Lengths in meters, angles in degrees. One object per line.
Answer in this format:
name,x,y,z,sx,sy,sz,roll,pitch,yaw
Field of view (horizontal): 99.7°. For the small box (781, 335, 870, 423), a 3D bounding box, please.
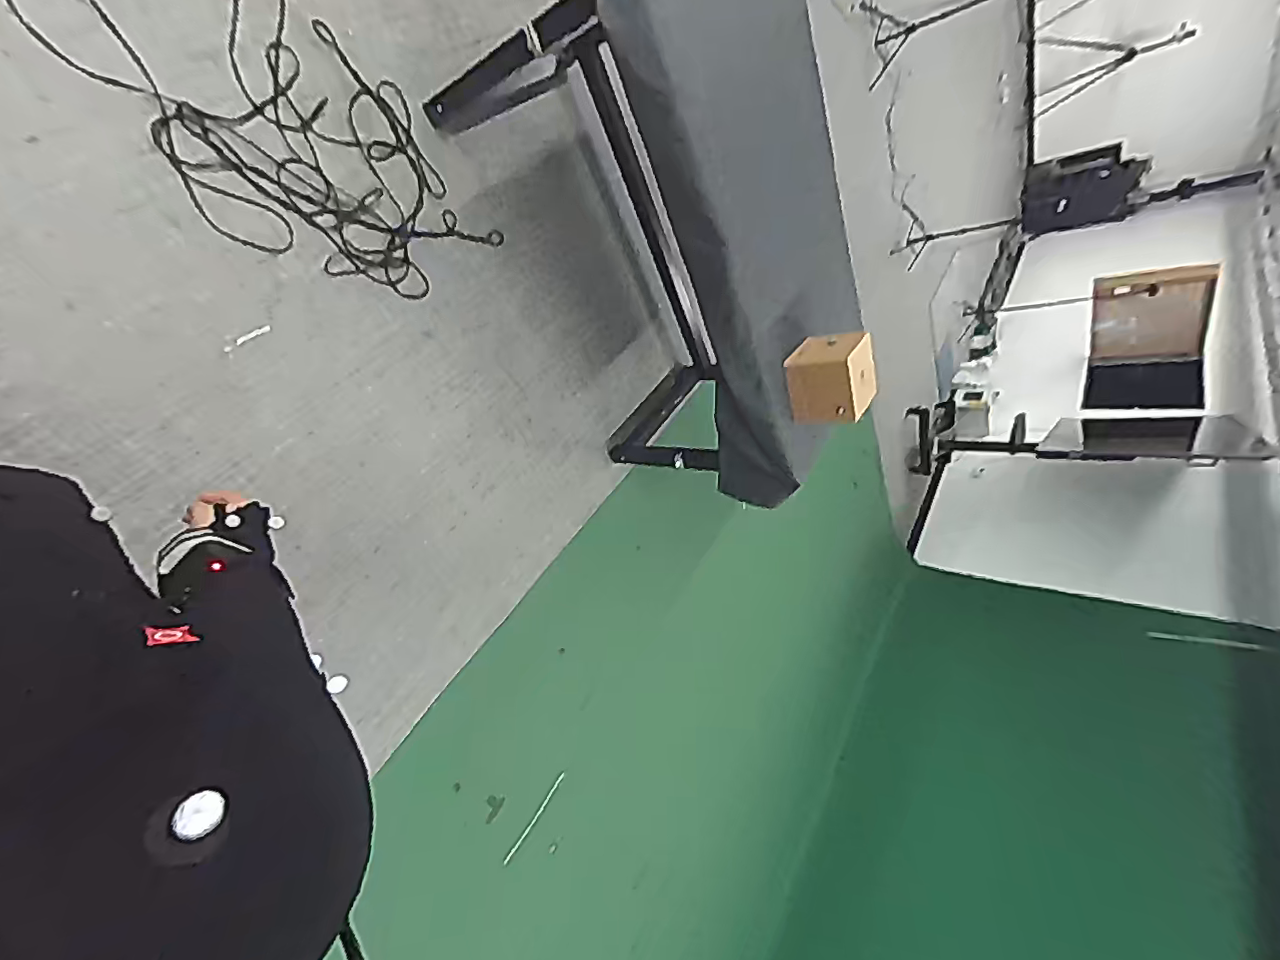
small box,0.484,-0.259,1.412,0.168,0.176,0.179,-45,127,-37
